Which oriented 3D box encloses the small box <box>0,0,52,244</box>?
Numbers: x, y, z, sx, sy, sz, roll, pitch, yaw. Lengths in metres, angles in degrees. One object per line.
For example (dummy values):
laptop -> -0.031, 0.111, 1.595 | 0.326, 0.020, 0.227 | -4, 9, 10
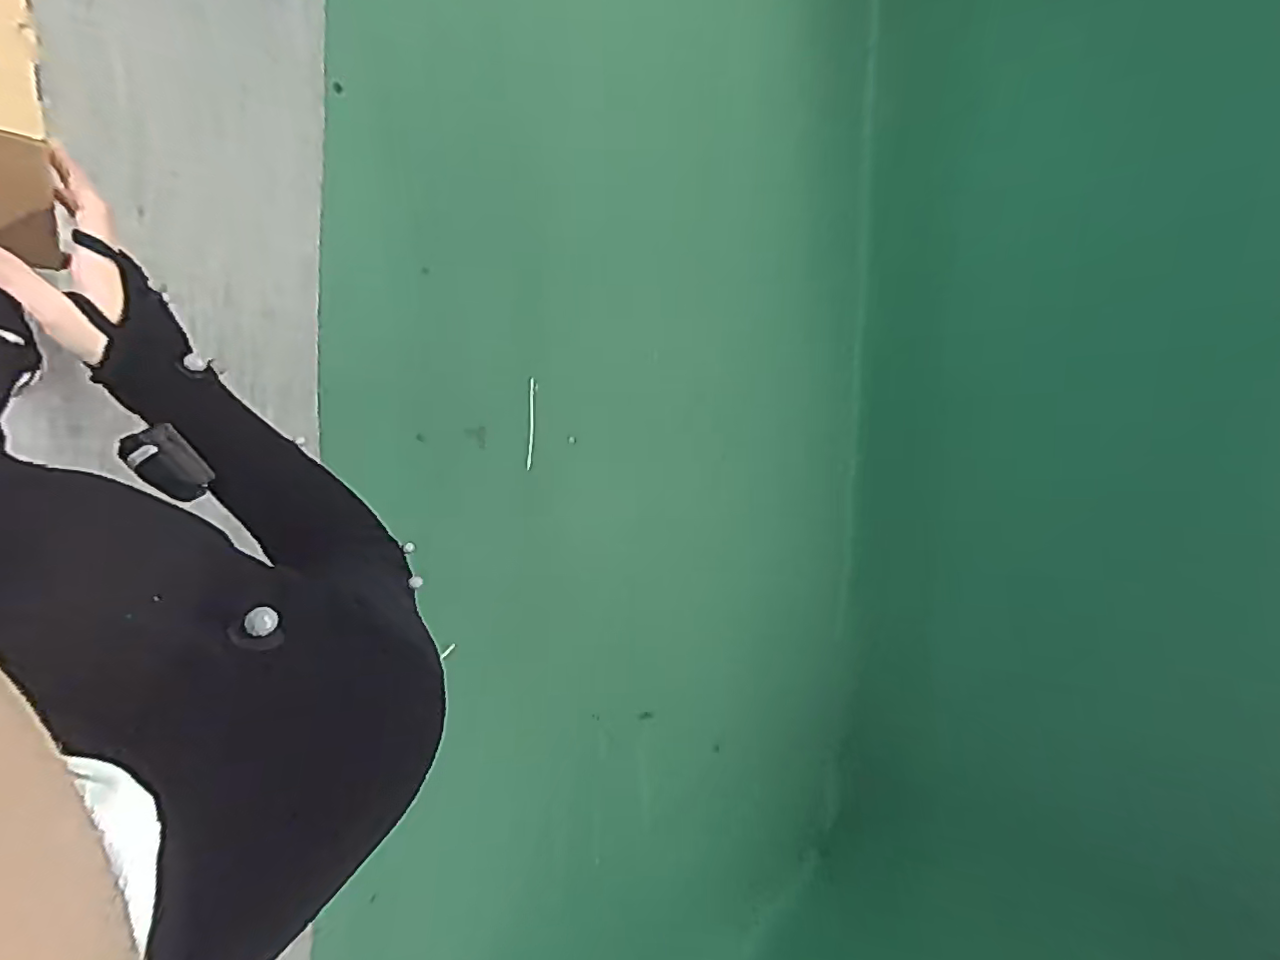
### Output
small box -> -0.530, -0.285, 0.356 | 0.179, 0.176, 0.168 | -7, 80, -46
